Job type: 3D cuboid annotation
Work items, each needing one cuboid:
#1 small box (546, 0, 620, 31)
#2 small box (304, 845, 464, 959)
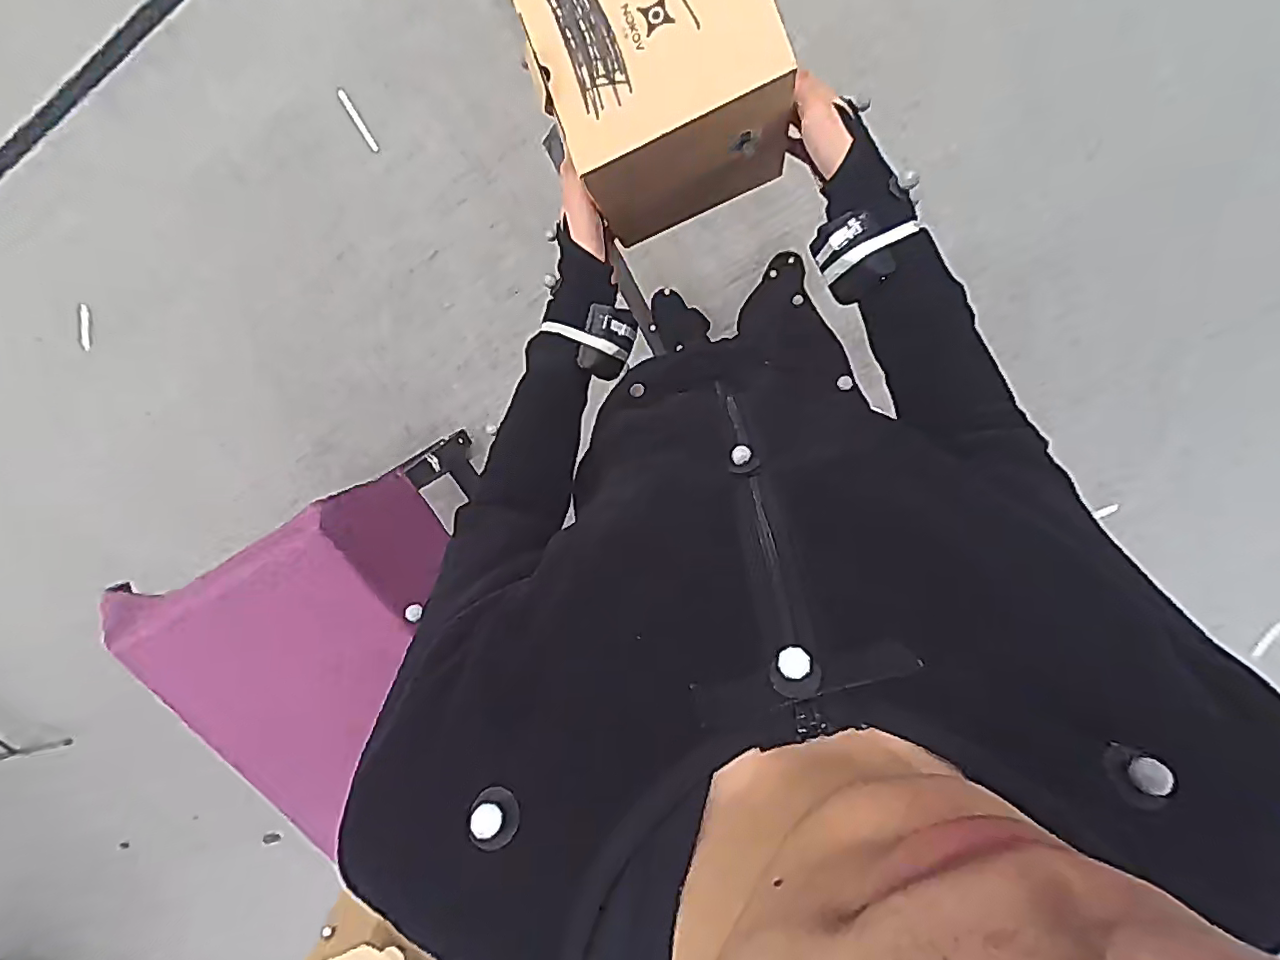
[{"bbox_3d":[-0.150,-1.137,1.185,0.168,0.176,0.179,-23,107,12],"label":"small box"},{"bbox_3d":[-0.459,0.822,0.993,0.179,0.176,0.168,-32,106,14],"label":"small box"}]
